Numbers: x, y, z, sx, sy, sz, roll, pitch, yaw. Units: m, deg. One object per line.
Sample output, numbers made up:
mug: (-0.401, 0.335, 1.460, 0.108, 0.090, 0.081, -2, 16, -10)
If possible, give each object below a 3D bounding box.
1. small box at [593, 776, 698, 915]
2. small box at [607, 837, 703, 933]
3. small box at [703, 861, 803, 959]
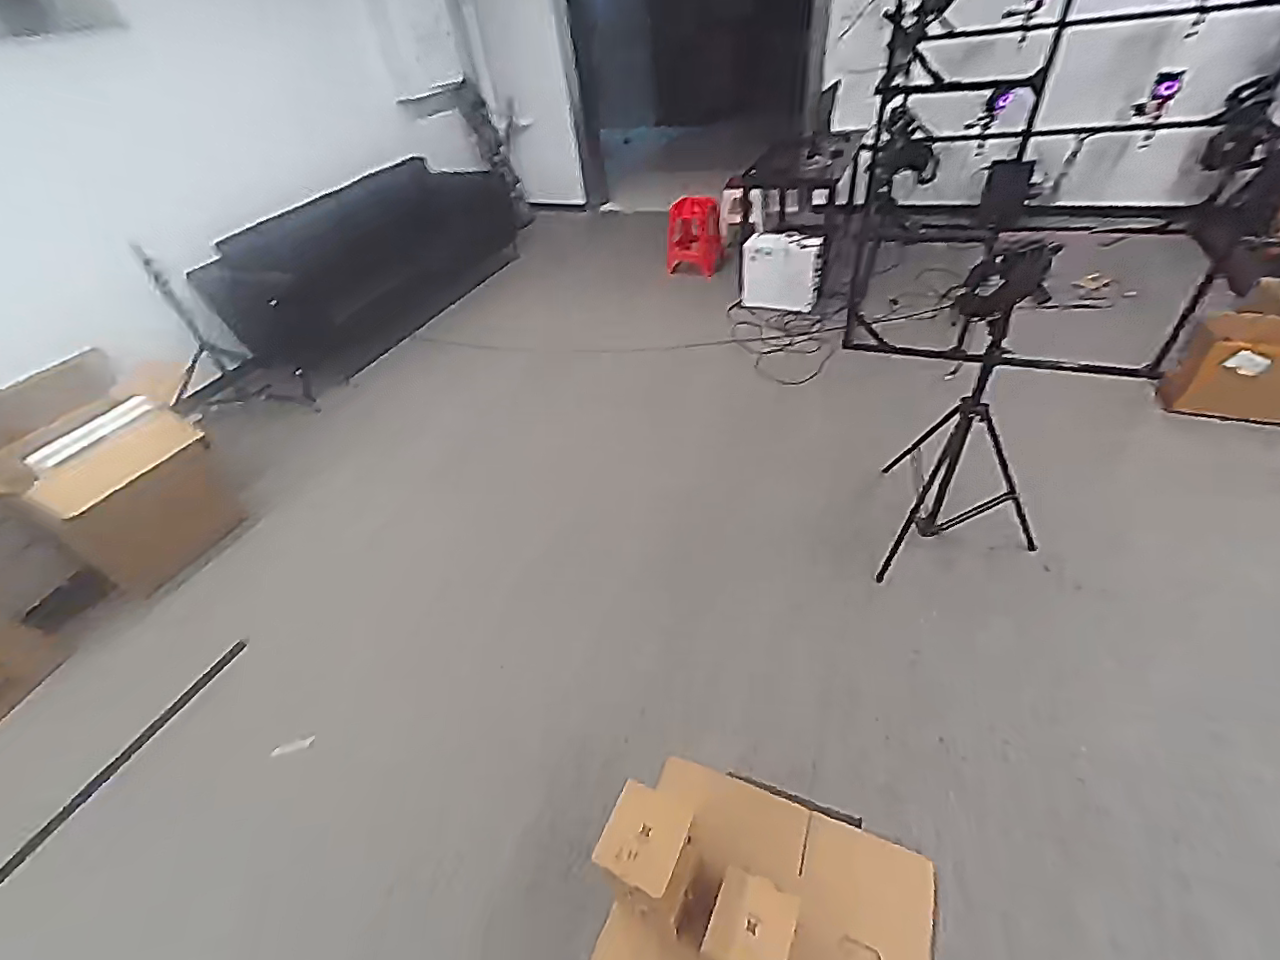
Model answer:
small box: (0.021, 0.796, 1.178, 0.168, 0.176, 0.179, 14, 47, 25)
small box: (0.045, 0.924, 1.280, 0.168, 0.176, 0.179, 14, 47, 24)
small box: (0.244, 0.985, 1.179, 0.168, 0.176, 0.179, 15, 47, 24)
